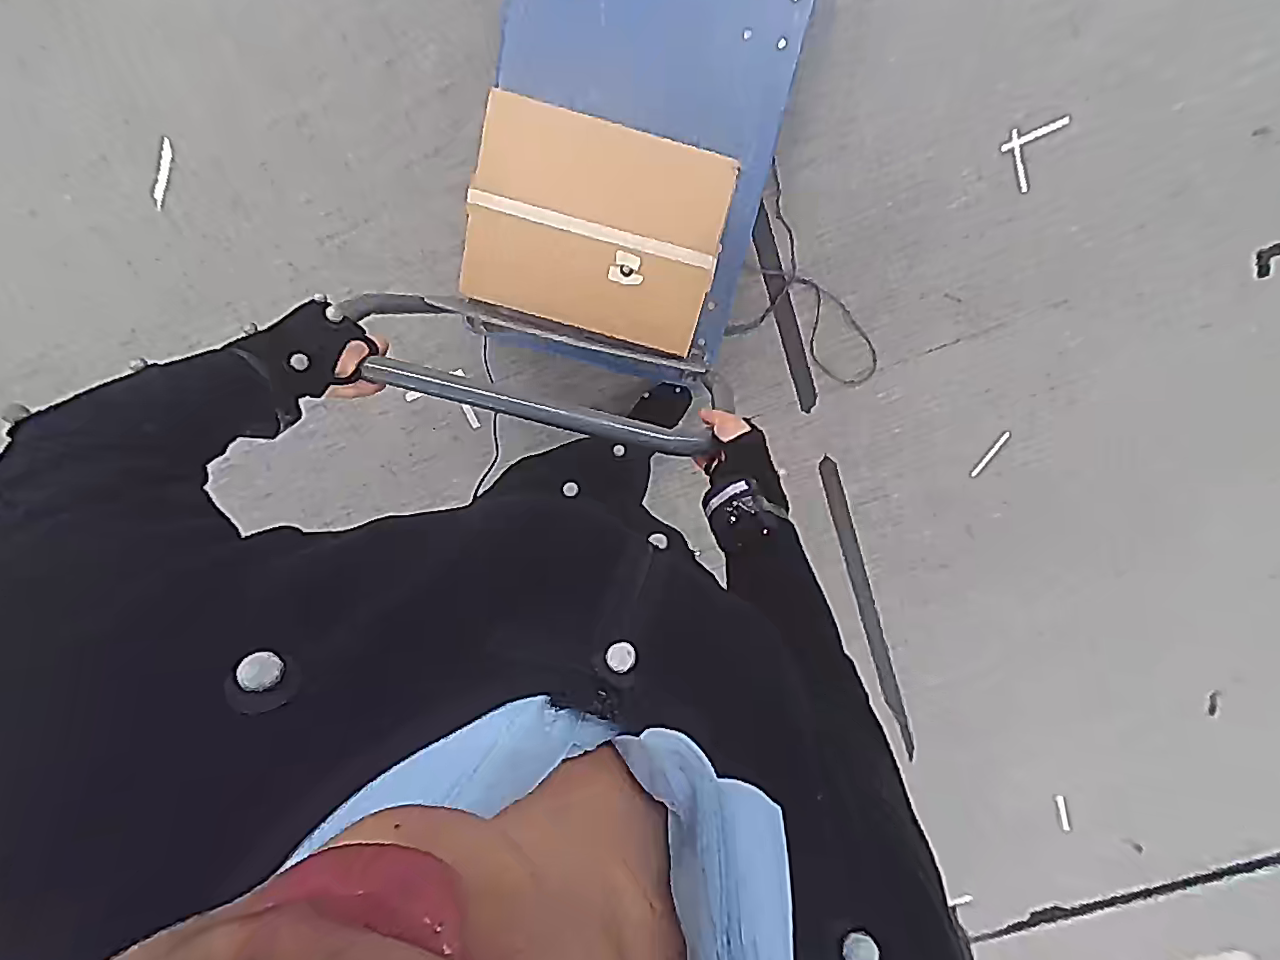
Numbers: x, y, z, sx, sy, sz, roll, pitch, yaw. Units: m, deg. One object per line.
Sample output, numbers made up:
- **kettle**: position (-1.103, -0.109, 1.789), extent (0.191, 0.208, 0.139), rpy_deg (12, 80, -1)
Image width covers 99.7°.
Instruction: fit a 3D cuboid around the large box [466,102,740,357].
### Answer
- **large box**: position (-0.069, -0.441, 1.031), extent (0.408, 0.320, 0.320), rpy_deg (15, 106, -4)
